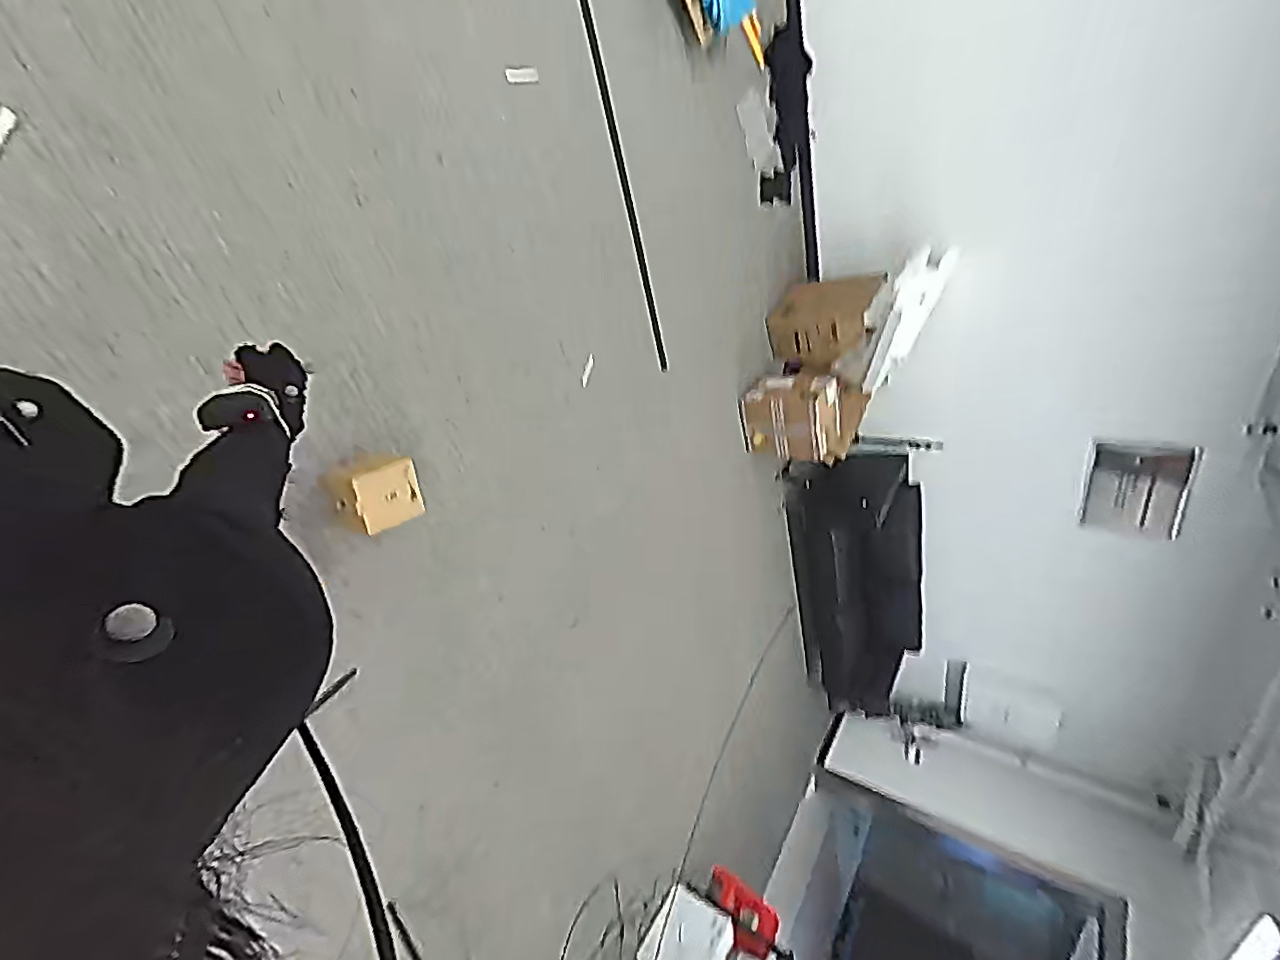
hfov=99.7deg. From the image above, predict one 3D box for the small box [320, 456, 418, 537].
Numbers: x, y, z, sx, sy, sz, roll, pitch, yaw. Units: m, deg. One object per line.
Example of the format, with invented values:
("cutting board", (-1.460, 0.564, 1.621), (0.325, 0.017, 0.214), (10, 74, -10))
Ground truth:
("small box", (-0.753, 0.040, 1.493), (0.179, 0.176, 0.168), (-28, 119, -48))
